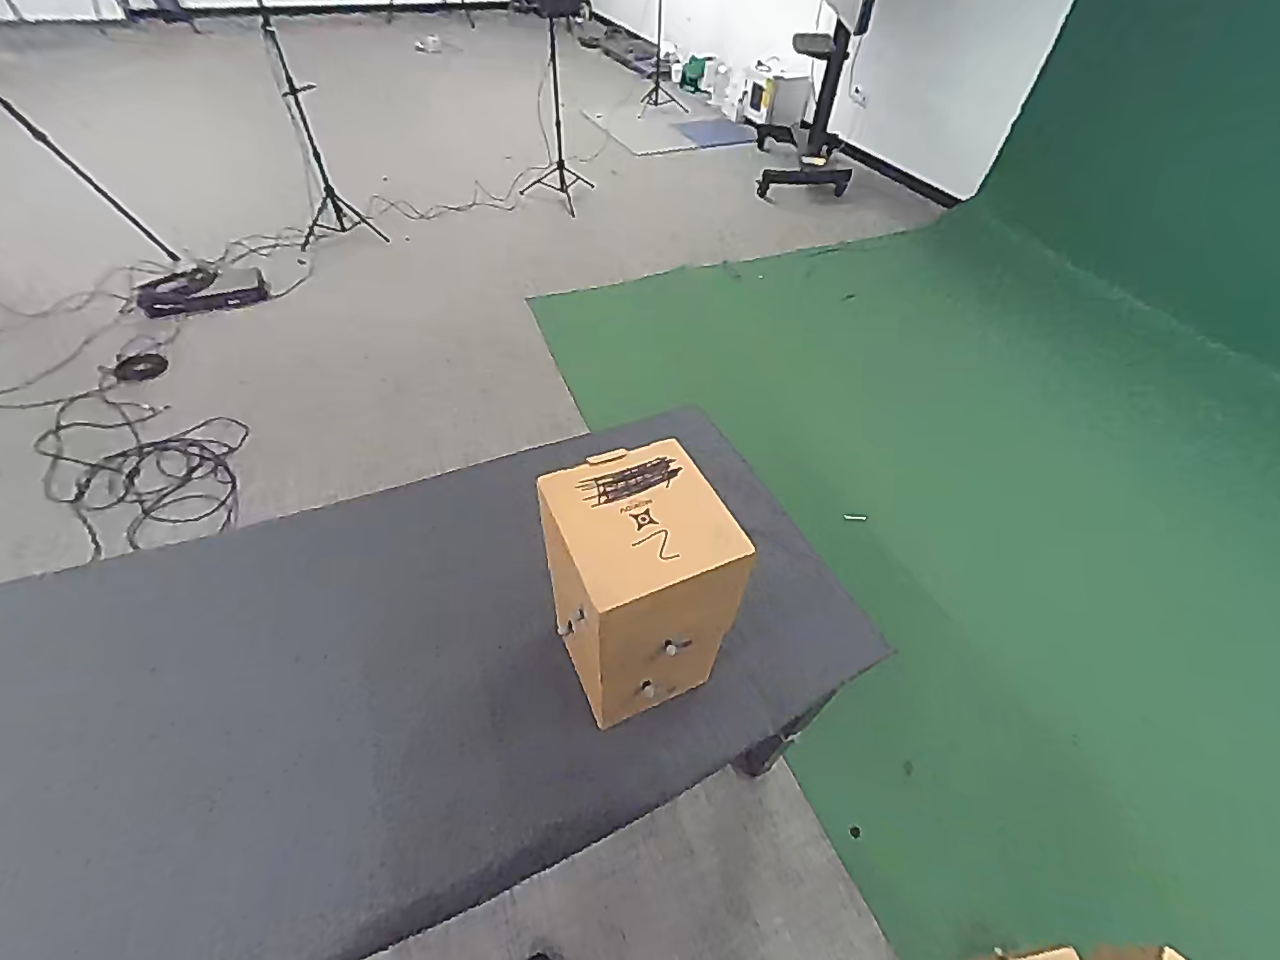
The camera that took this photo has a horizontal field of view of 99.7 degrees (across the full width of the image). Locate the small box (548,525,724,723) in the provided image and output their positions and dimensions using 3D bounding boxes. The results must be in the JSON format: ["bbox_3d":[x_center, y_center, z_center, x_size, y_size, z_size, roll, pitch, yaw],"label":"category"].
[{"bbox_3d":[-0.010,0.196,0.715,0.168,0.176,0.179,-18,51,-18],"label":"small box"}]

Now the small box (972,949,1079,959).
[{"bbox_3d":[0.745,1.010,1.021,0.179,0.176,0.168,-5,50,-8],"label":"small box"}]

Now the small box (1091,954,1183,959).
[{"bbox_3d":[0.764,0.814,0.759,0.179,0.176,0.168,35,57,25],"label":"small box"}]
